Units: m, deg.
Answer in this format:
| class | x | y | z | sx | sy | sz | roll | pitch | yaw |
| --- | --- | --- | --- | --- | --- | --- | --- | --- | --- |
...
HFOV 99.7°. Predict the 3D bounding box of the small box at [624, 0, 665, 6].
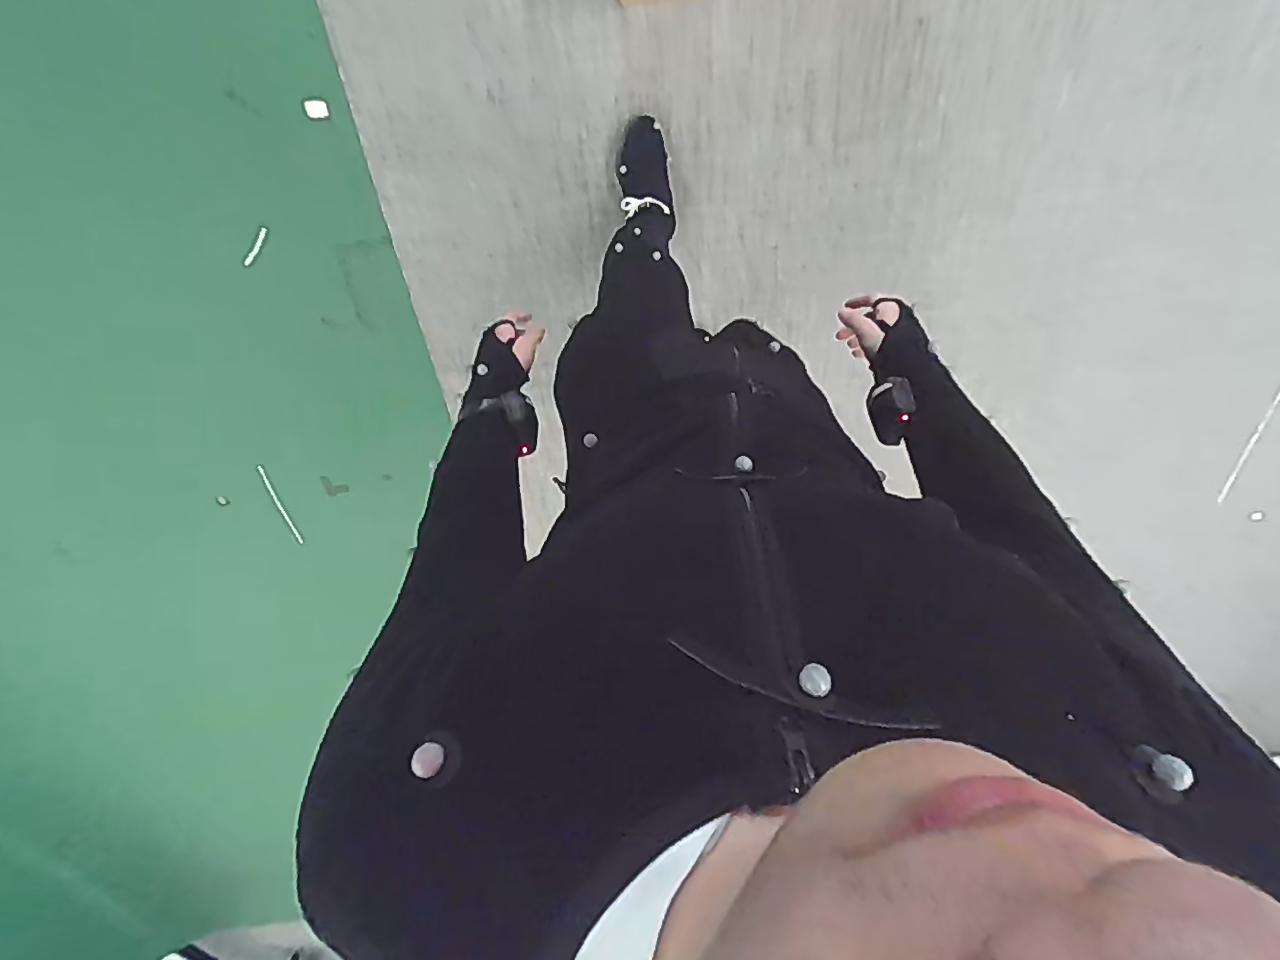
| class | x | y | z | sx | sy | sz | roll | pitch | yaw |
| --- | --- | --- | --- | --- | --- | --- | --- | --- | --- |
| small box | 0.044 | -1.012 | 1.003 | 0.179 | 0.176 | 0.168 | -7 | 123 | 2 |
